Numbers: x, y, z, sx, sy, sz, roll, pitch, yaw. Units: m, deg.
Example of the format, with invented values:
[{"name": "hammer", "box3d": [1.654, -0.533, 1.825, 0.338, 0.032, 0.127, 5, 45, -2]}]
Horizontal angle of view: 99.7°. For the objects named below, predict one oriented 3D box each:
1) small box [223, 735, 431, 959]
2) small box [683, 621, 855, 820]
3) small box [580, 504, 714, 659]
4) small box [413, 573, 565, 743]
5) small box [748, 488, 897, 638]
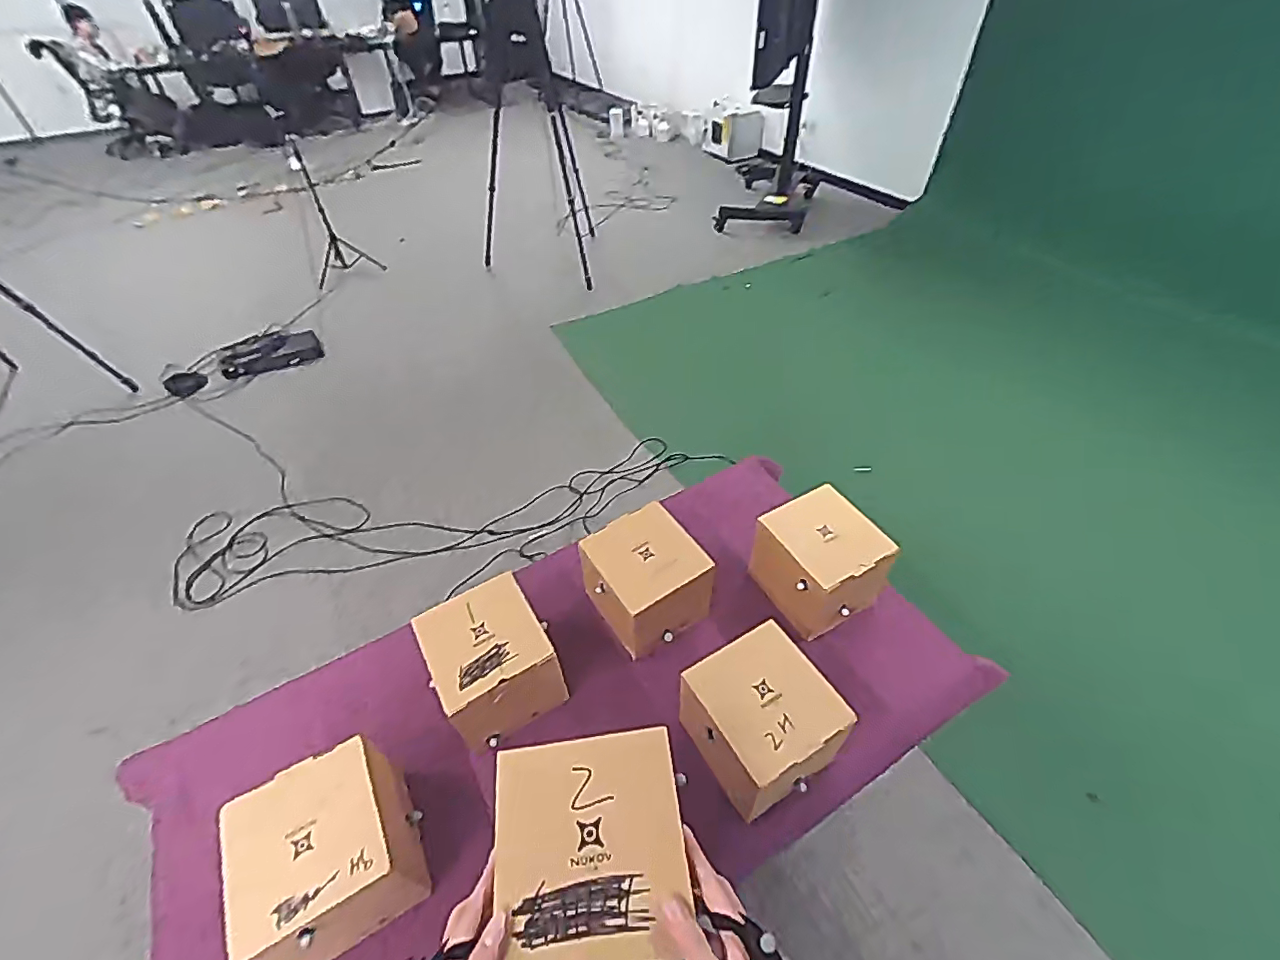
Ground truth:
[{"name": "small box", "box3d": [-0.389, 0.470, 0.685, 0.168, 0.176, 0.179, -25, 49, -19]}, {"name": "small box", "box3d": [0.173, 0.348, 0.787, 0.168, 0.176, 0.179, -24, 48, -19]}, {"name": "small box", "box3d": [0.010, 0.180, 0.962, 0.168, 0.176, 0.179, -26, 51, -21]}, {"name": "small box", "box3d": [-0.233, 0.289, 0.861, 0.168, 0.176, 0.179, -25, 49, -21]}, {"name": "small box", "box3d": [0.317, 0.151, 0.982, 0.168, 0.176, 0.179, -22, 52, -19]}]
